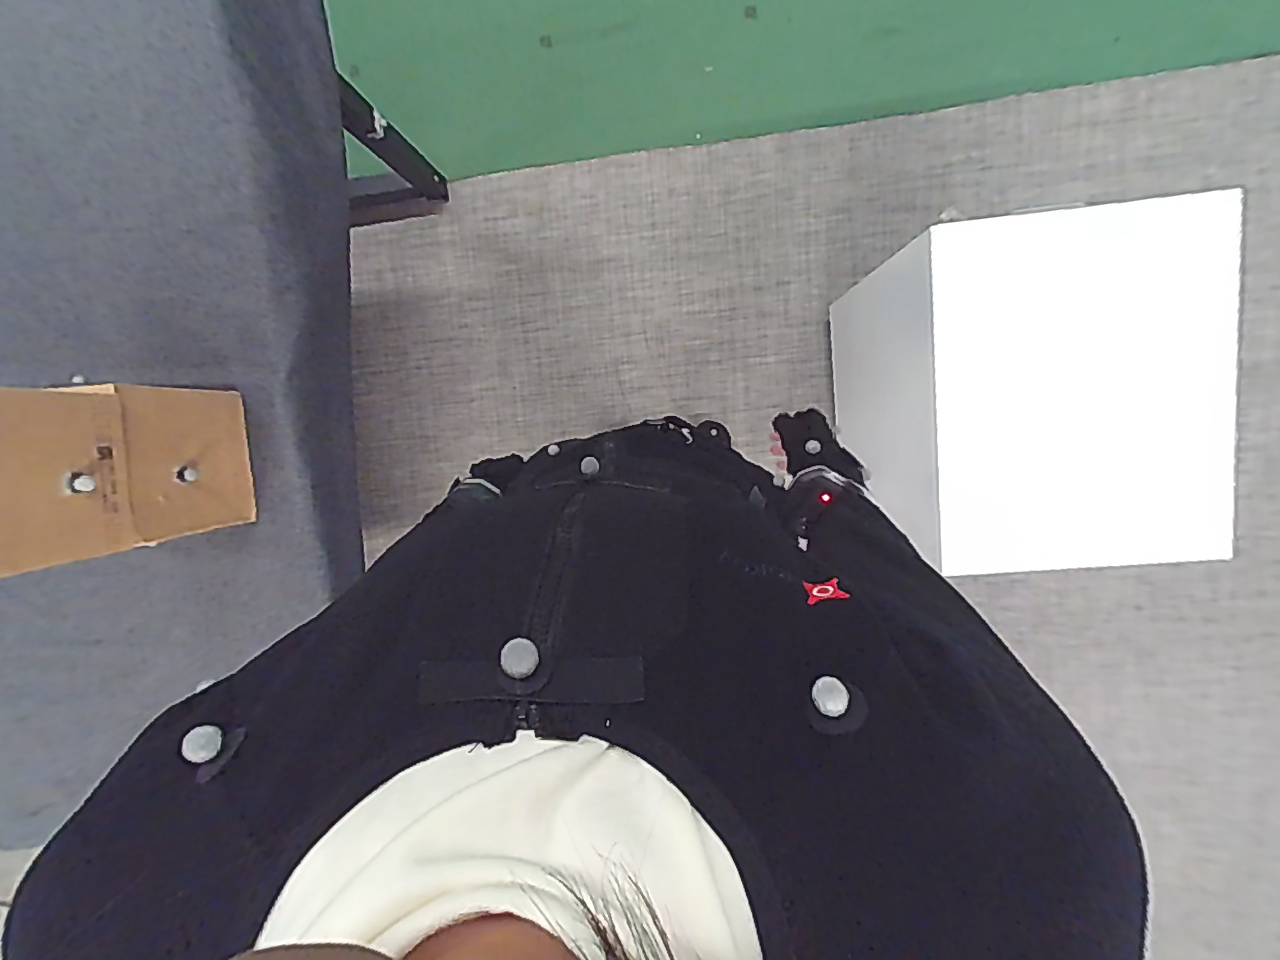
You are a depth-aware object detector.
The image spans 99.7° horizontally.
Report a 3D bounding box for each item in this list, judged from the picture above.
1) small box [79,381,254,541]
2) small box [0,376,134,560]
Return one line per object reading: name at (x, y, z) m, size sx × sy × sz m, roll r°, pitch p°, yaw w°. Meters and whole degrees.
small box at (-0.619, -0.029, 0.668) m, size 0.168 × 0.176 × 0.179 m, roll -2°, pitch 97°, yaw 6°
small box at (-0.640, -0.009, 0.506) m, size 0.179 × 0.176 × 0.168 m, roll -2°, pitch 96°, yaw 8°
